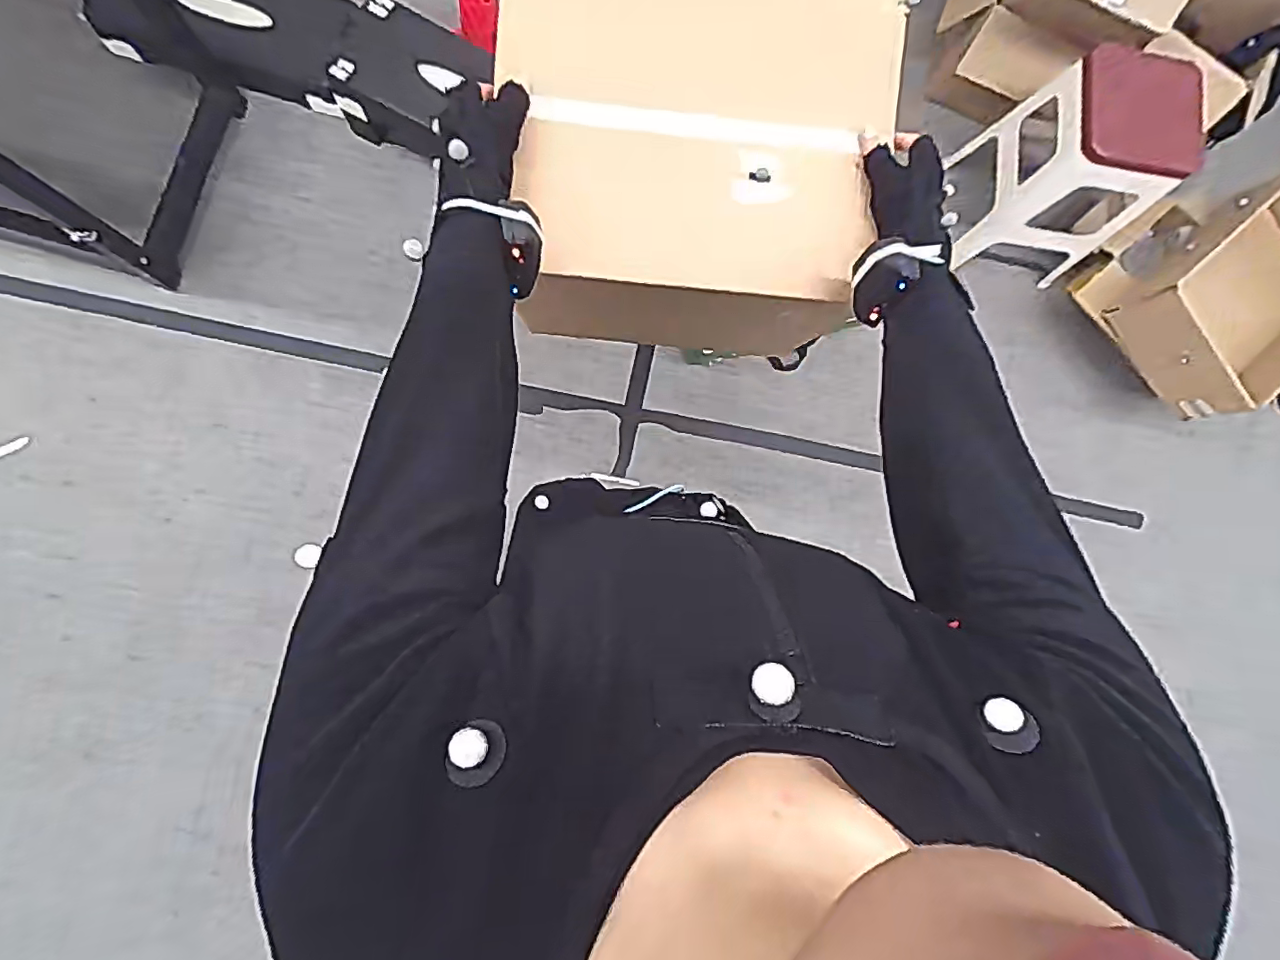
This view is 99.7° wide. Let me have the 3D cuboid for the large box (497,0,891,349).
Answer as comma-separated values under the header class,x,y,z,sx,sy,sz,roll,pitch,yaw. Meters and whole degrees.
class,x,y,z,sx,sy,sz,roll,pitch,yaw
large box,0.046,-0.366,0.706,0.408,0.320,0.320,4,94,-5
